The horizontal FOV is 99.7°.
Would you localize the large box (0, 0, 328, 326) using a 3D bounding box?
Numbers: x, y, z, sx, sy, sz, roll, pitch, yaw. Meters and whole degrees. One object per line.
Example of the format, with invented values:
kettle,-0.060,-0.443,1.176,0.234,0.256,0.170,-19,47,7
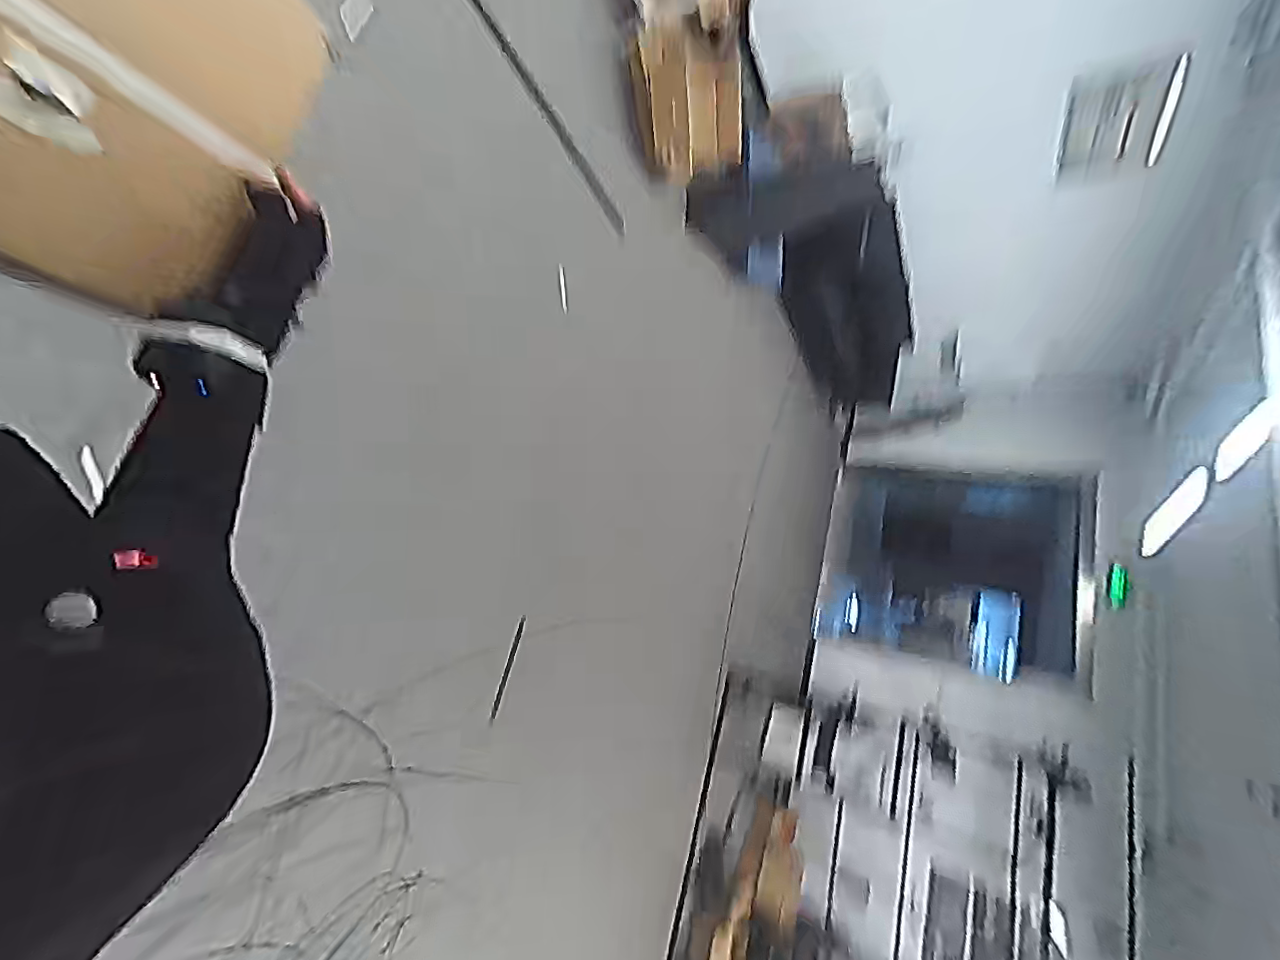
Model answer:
large box,-0.563,-0.364,0.412,0.408,0.320,0.320,31,78,-58
